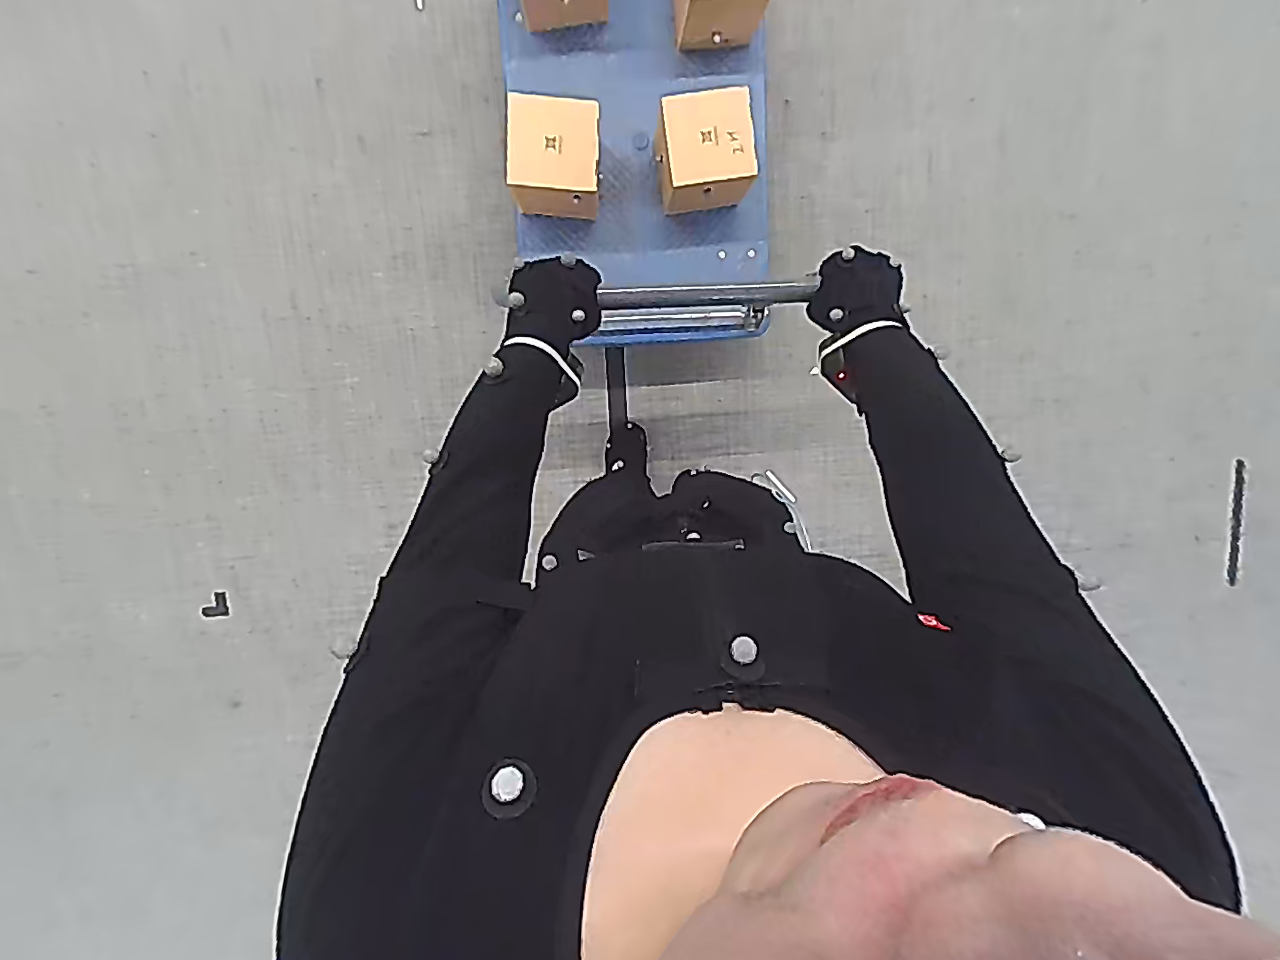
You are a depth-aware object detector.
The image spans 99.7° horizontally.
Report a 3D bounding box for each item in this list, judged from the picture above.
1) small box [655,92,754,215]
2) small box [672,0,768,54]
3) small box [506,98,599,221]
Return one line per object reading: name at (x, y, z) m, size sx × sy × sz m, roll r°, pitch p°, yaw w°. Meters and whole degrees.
small box at (0.128, -0.679, 1.144) m, size 0.179 × 0.176 × 0.168 m, roll -9°, pitch 99°, yaw -2°
small box at (0.155, -1.013, 1.094) m, size 0.168 × 0.176 × 0.179 m, roll -7°, pitch 100°, yaw -3°
small box at (-0.177, -0.656, 1.127) m, size 0.179 × 0.176 × 0.168 m, roll 2°, pitch 98°, yaw -6°
